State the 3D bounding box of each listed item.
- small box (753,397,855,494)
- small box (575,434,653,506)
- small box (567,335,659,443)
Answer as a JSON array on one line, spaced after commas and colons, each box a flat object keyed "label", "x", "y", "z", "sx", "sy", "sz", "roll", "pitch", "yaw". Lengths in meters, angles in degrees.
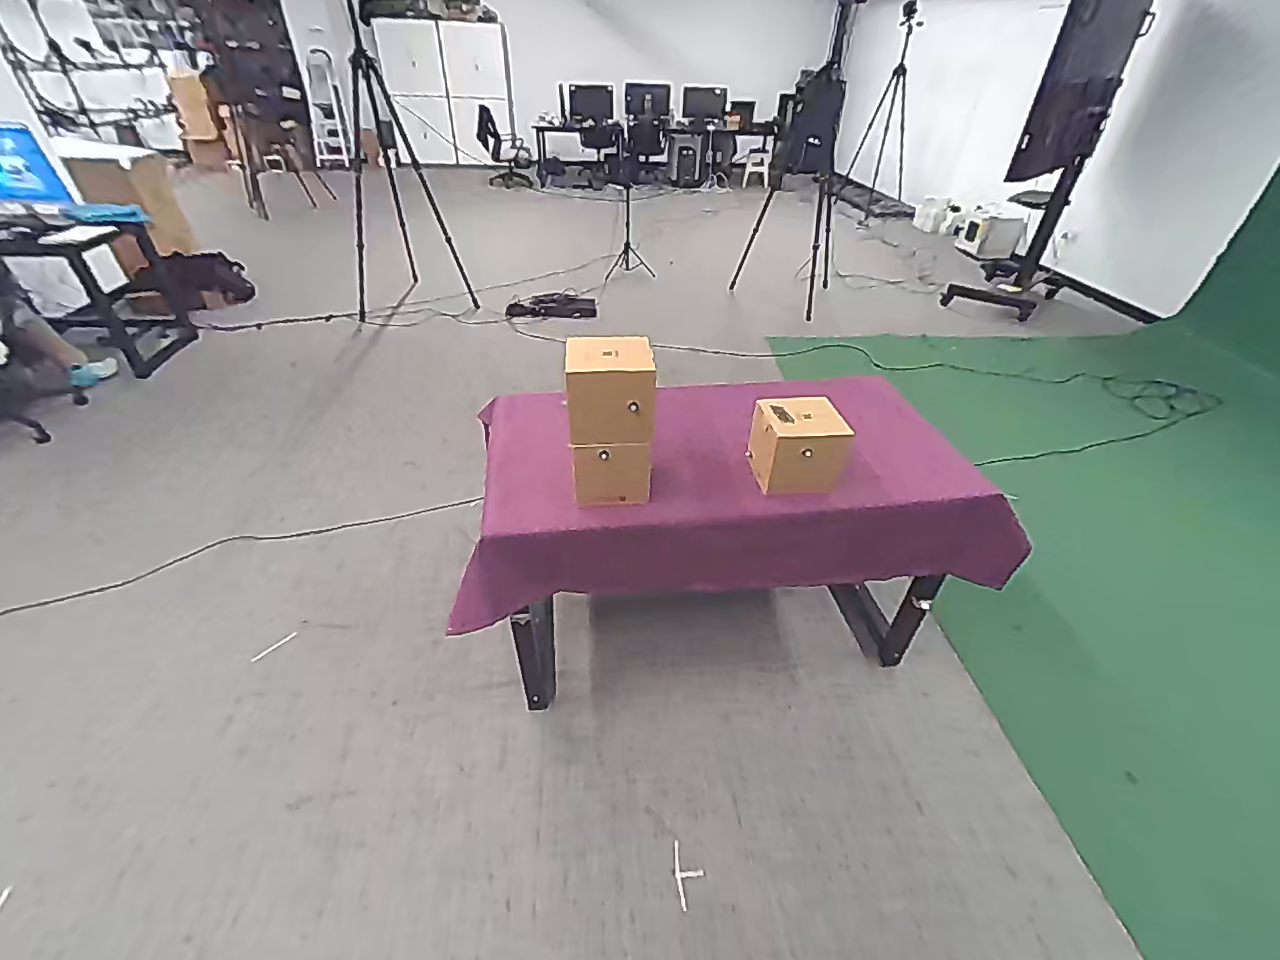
[{"label": "small box", "x": 0.372, "y": -0.079, "z": 1.271, "sx": 0.179, "sy": 0.176, "sz": 0.168, "roll": -2, "pitch": 38, "yaw": -6}, {"label": "small box", "x": -0.062, "y": -0.060, "z": 1.232, "sx": 0.168, "sy": 0.176, "sz": 0.179, "roll": -3, "pitch": 38, "yaw": -4}, {"label": "small box", "x": -0.057, "y": -0.189, "z": 1.131, "sx": 0.179, "sy": 0.176, "sz": 0.168, "roll": -2, "pitch": 38, "yaw": -4}]
